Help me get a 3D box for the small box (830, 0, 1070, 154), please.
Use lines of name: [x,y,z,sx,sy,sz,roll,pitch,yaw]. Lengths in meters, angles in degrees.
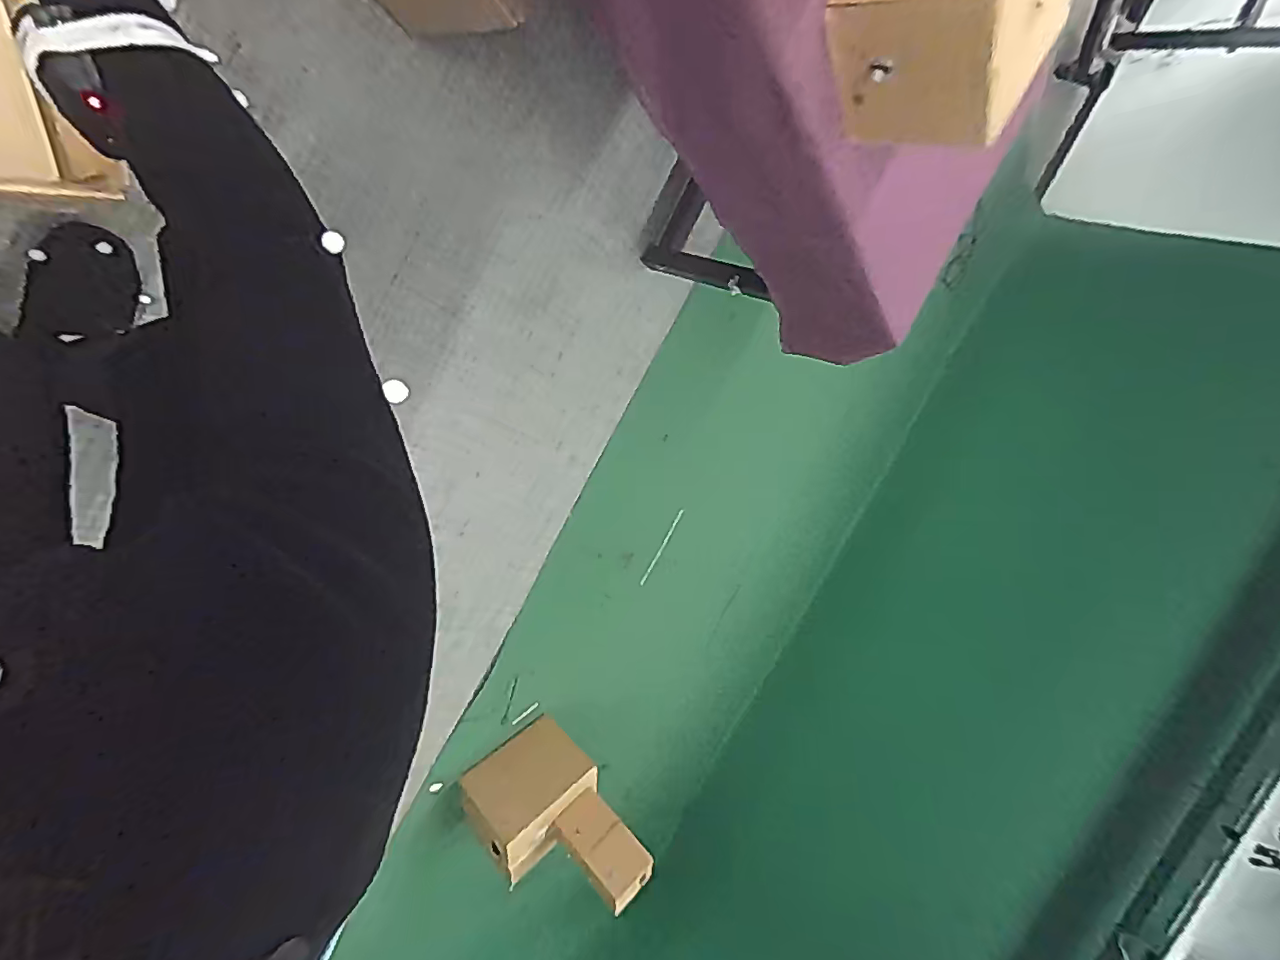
small box: [0.327,-0.487,0.569,0.179,0.176,0.168,-58,146,-1]
